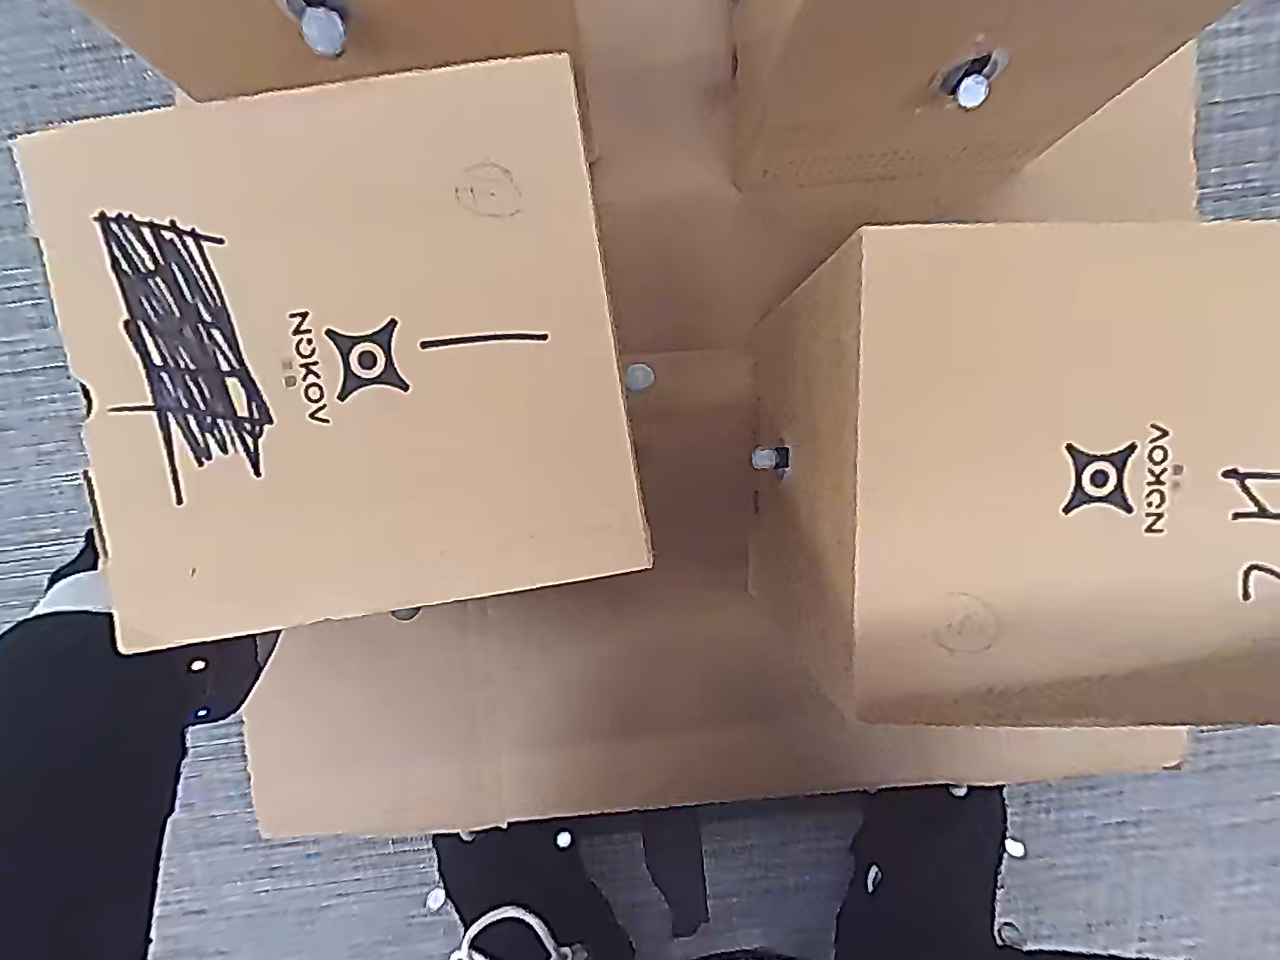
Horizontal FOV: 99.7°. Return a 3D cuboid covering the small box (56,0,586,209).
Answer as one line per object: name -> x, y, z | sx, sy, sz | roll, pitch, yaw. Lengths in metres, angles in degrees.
small box -> -0.123, -0.255, 0.252 | 0.179, 0.176, 0.168 | -8, 91, 1
